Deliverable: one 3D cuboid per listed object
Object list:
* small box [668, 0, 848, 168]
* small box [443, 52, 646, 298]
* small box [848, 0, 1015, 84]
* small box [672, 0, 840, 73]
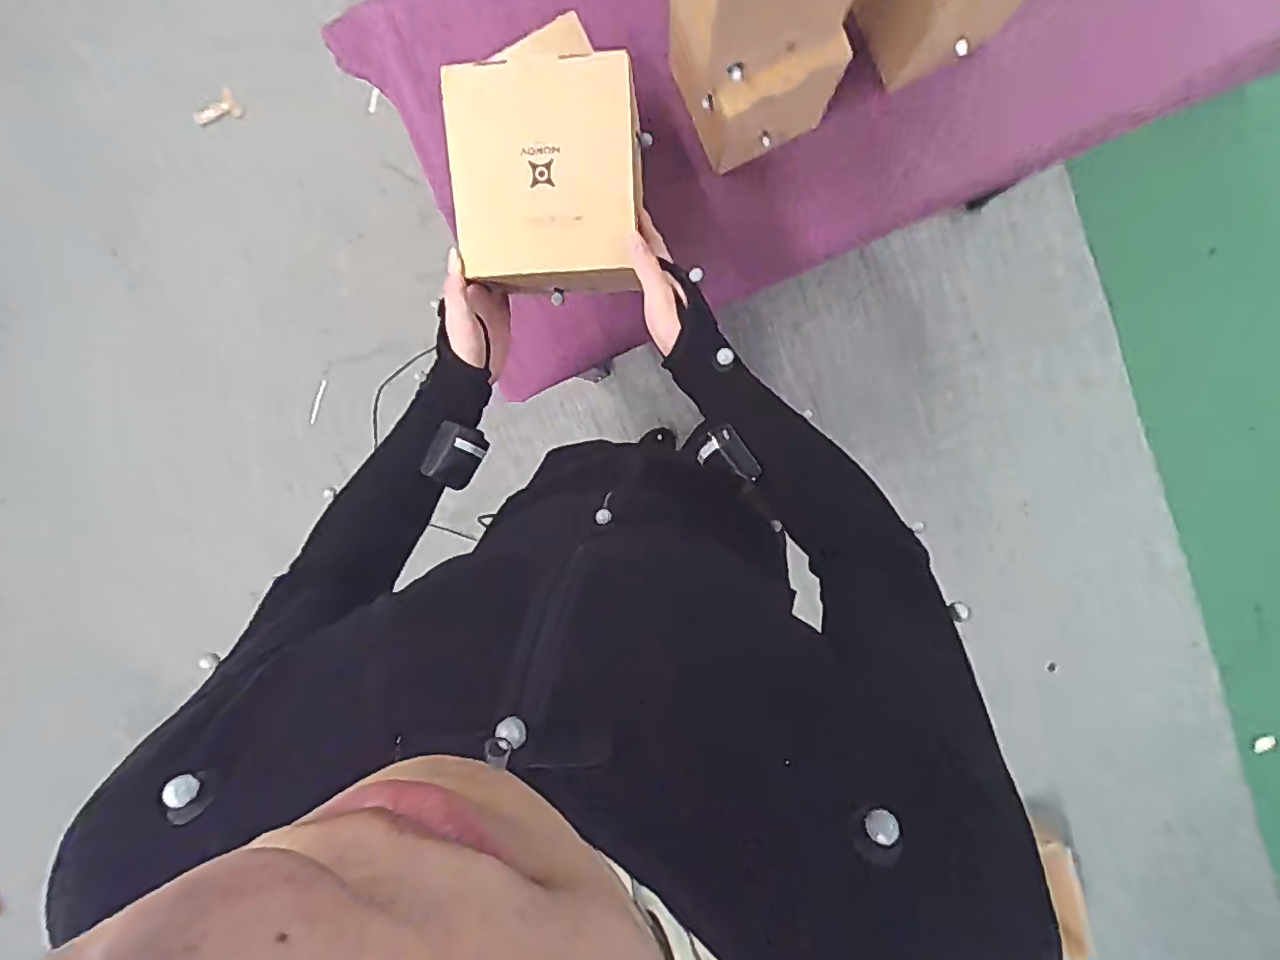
[{"bbox_3d":[0.143,-0.565,0.721,0.168,0.176,0.179,-25,96,5],"label":"small box"},{"bbox_3d":[-0.081,-0.288,0.549,0.168,0.176,0.179,-1,103,3],"label":"small box"},{"bbox_3d":[0.385,-0.670,0.692,0.168,0.176,0.179,-26,96,6],"label":"small box"},{"bbox_3d":[0.117,-0.568,0.555,0.168,0.176,0.179,-21,96,5],"label":"small box"}]
